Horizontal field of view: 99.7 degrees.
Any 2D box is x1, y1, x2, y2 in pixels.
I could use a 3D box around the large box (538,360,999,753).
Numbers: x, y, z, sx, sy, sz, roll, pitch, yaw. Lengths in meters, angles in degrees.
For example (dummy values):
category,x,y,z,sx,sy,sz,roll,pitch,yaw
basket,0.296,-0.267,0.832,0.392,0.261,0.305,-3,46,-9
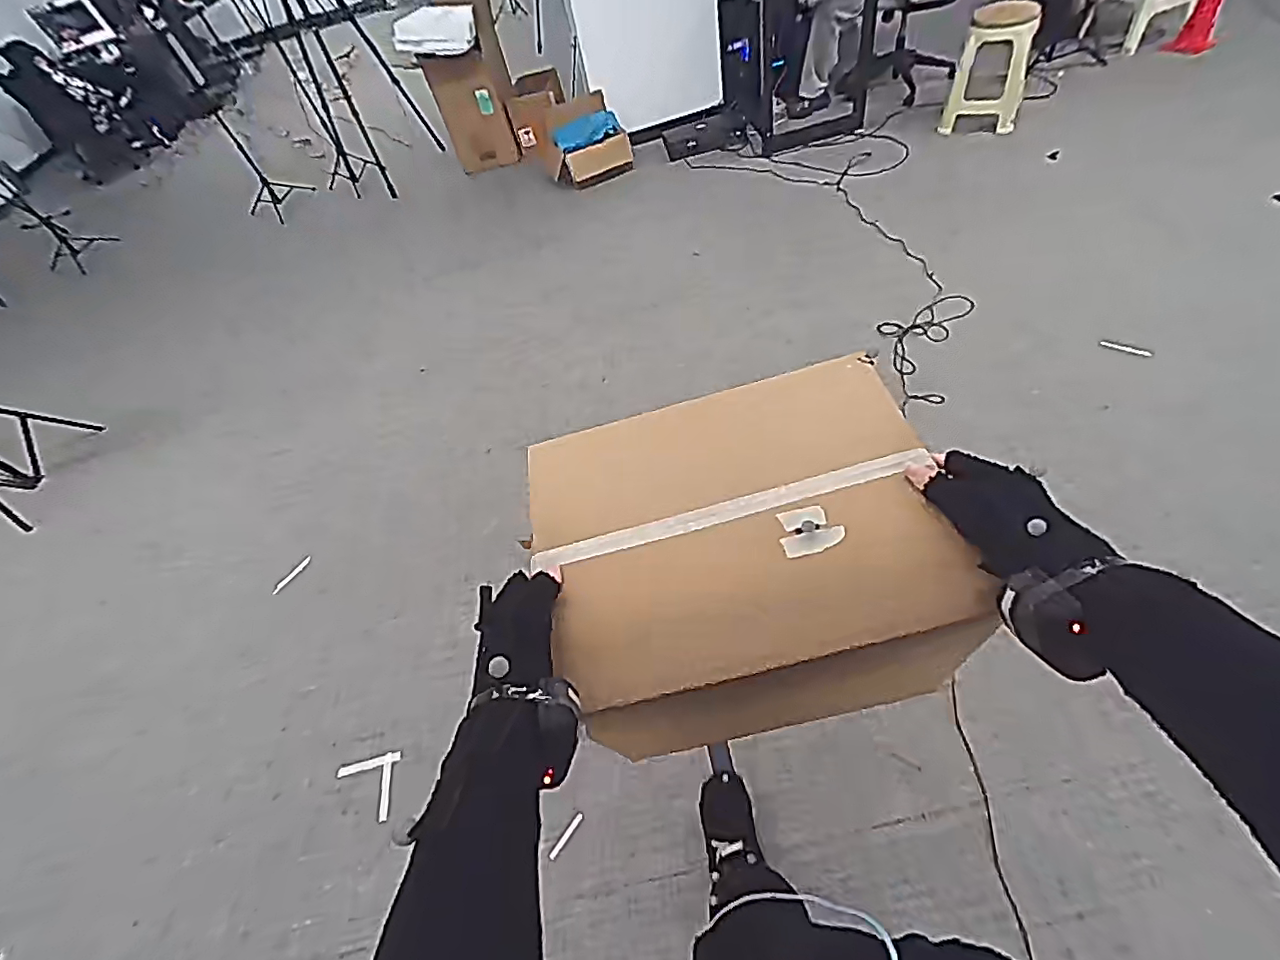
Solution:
category,x,y,z,sx,sy,sz,roll,pitch,yaw
large box,0.122,0.113,0.680,0.408,0.320,0.320,-15,55,3
